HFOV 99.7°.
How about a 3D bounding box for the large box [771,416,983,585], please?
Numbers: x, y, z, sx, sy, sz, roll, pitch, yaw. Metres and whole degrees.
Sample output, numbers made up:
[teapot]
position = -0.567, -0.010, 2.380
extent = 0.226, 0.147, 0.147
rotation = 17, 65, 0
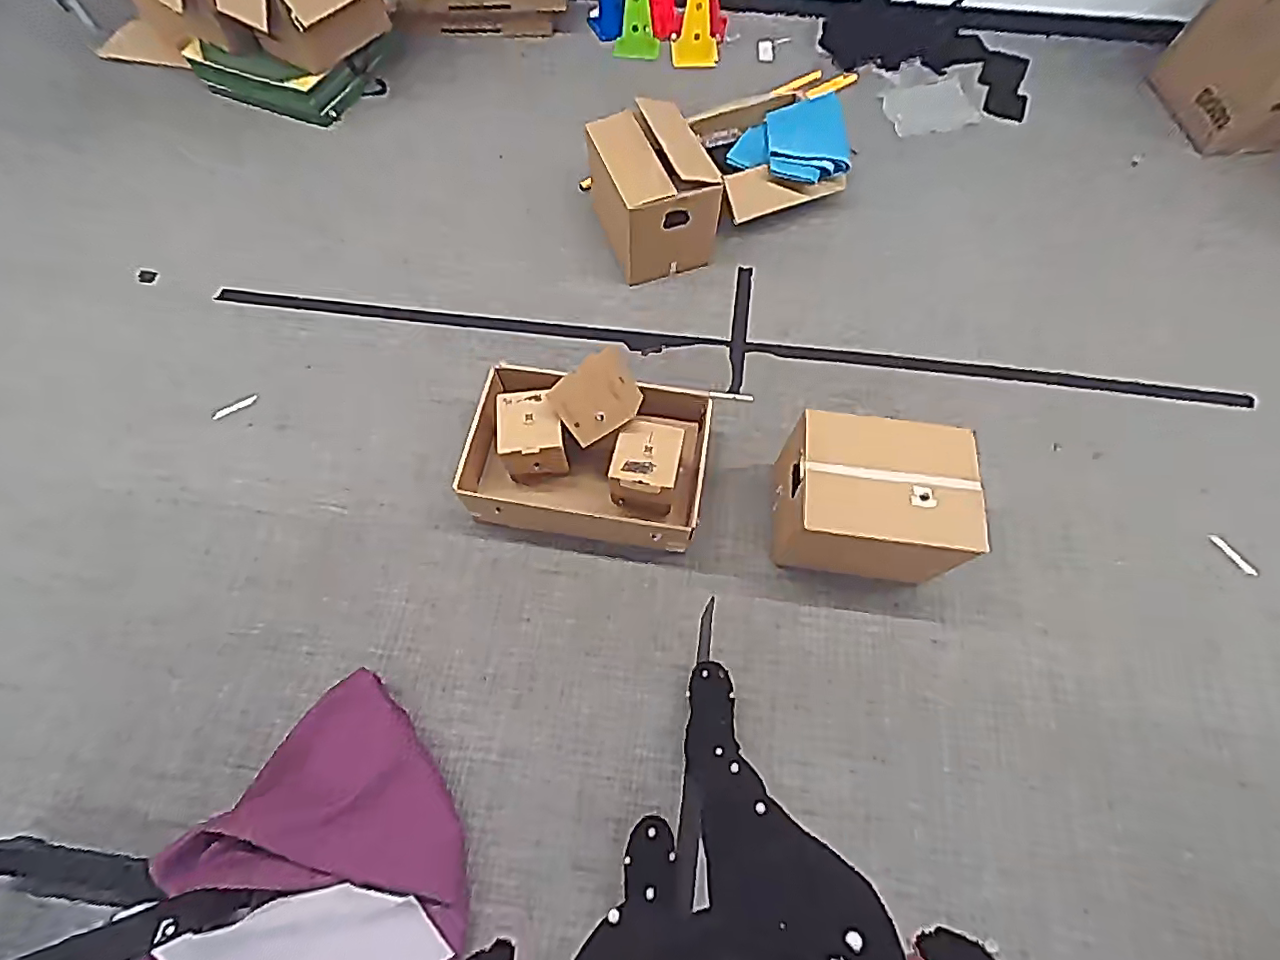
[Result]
[large box]
position = 0.567, 0.064, 1.384
extent = 0.408, 0.320, 0.320
rotation = 7, 67, 2
